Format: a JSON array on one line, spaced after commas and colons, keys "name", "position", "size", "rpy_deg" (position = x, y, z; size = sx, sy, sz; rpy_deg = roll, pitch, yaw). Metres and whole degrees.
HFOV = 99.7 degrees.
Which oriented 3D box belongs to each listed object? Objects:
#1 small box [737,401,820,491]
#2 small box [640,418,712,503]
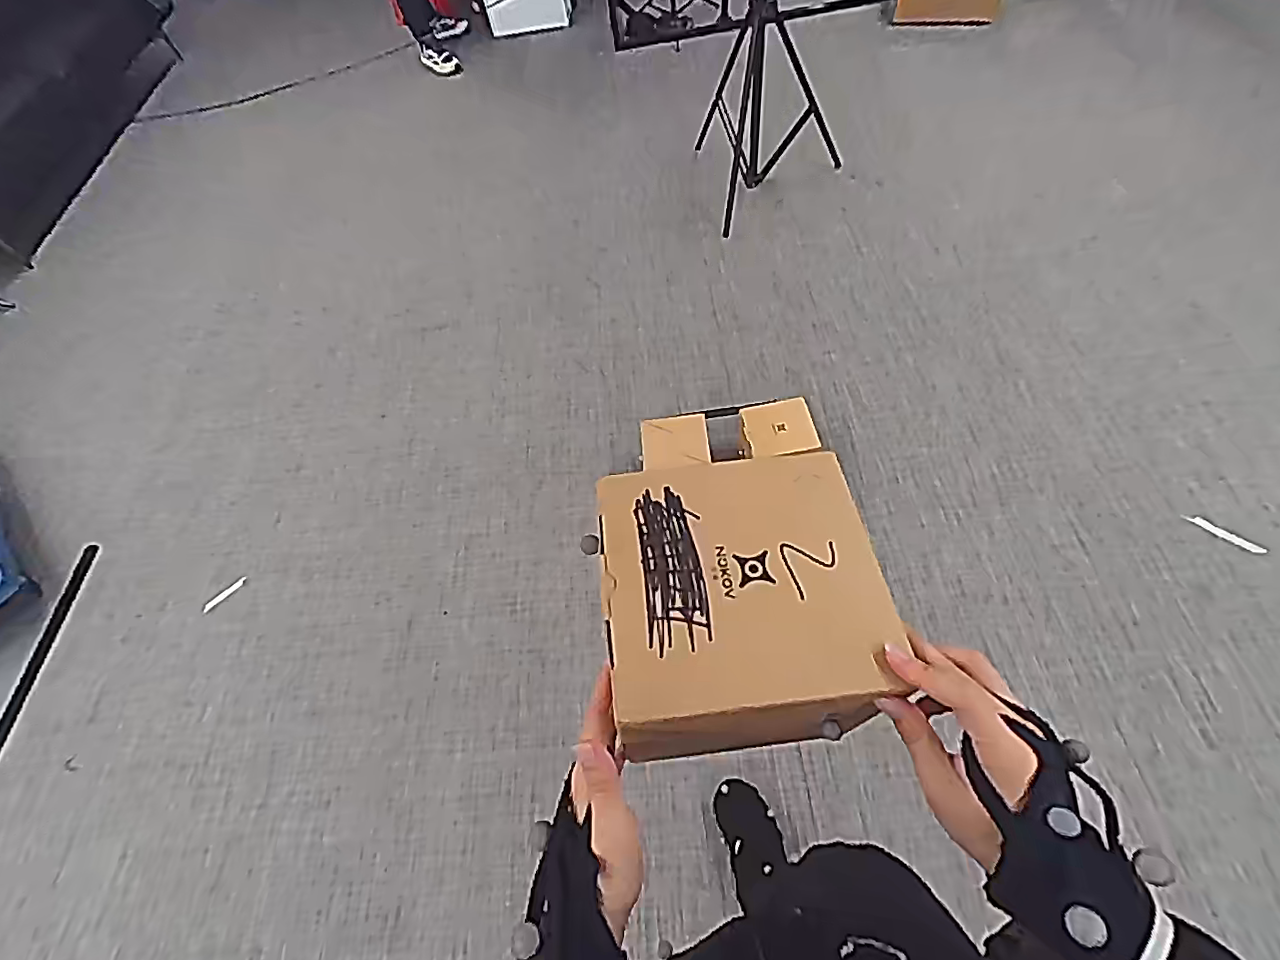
[{"name": "small box", "position": [0.368, -0.088, 1.473], "size": [0.179, 0.176, 0.168], "rpy_deg": [-11, 59, 2]}, {"name": "small box", "position": [0.101, -0.054, 1.489], "size": [0.179, 0.176, 0.168], "rpy_deg": [-6, 60, 5]}]
